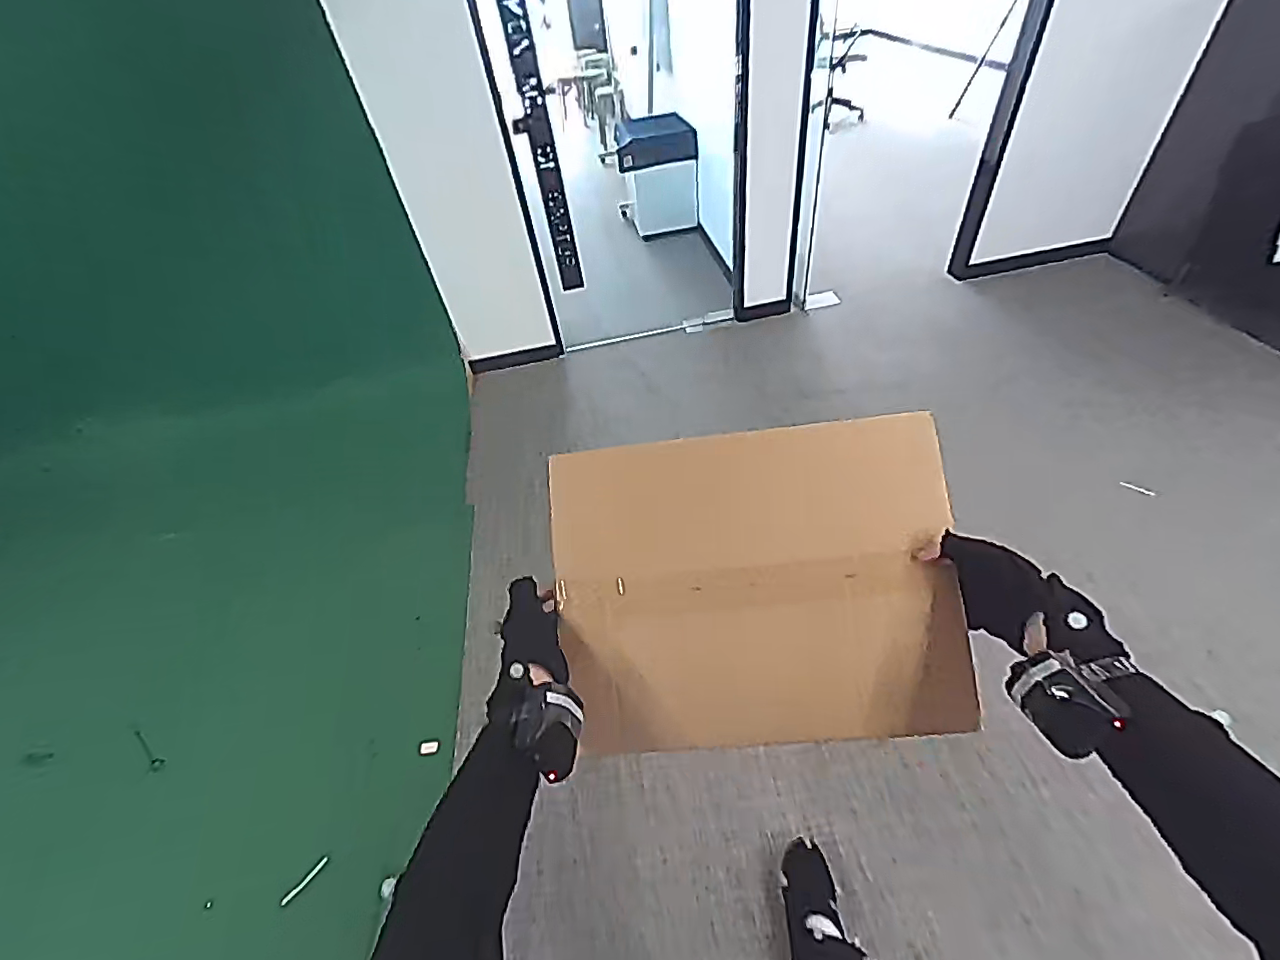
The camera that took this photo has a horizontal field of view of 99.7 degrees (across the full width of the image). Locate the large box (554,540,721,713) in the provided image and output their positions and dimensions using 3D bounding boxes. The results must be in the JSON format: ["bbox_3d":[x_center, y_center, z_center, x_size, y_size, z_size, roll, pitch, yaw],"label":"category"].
[{"bbox_3d":[-0.005,0.415,1.519,0.408,0.320,0.320,-11,45,0],"label":"large box"}]
